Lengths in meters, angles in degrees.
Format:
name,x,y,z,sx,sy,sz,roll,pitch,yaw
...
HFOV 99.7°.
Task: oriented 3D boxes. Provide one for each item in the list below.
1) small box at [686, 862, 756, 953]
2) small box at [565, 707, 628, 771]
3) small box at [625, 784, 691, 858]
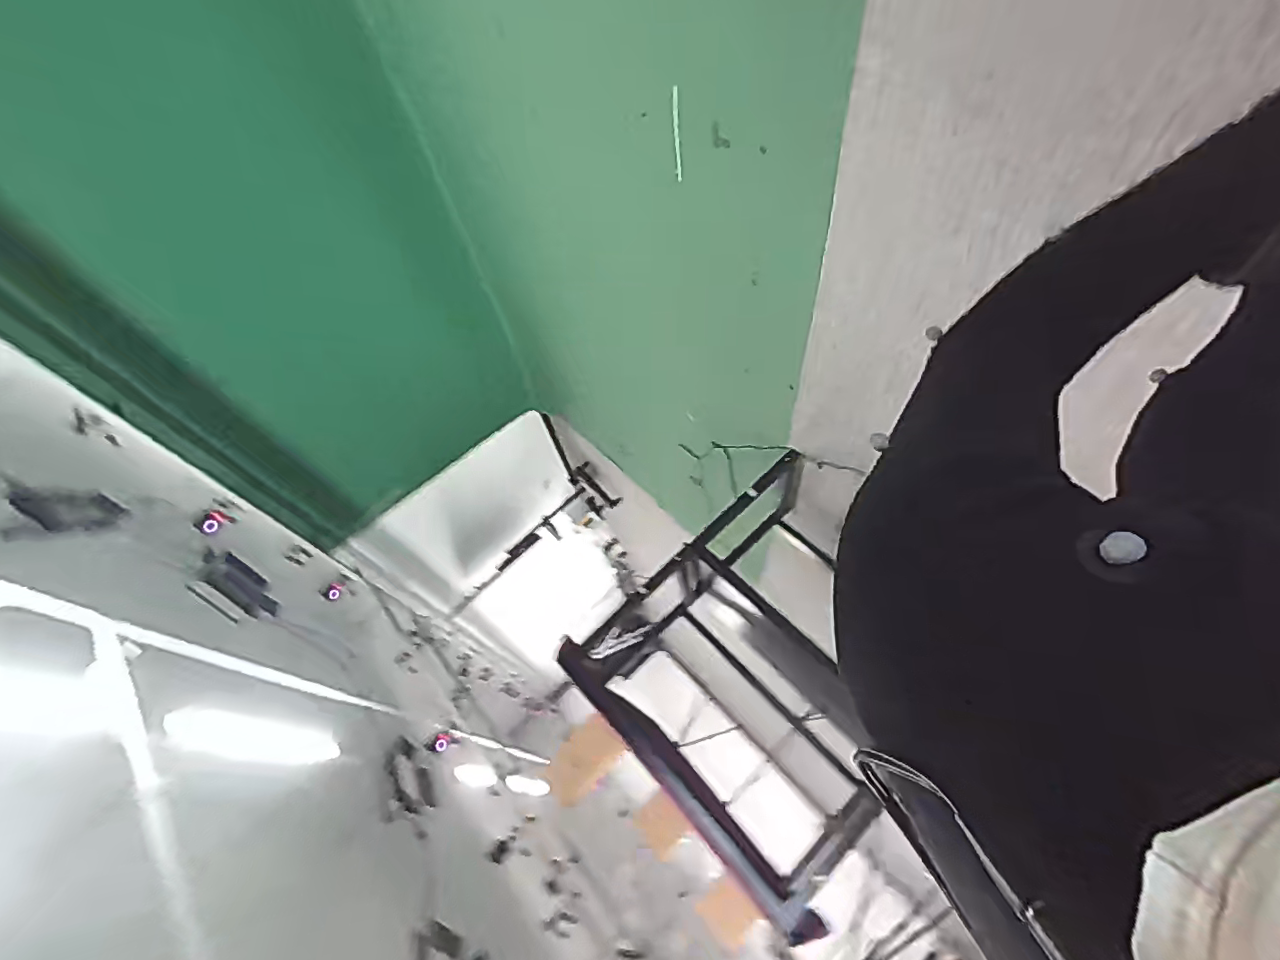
name,x,y,z,sx,sy,sz,roll,pitch,yaw
small box,0.283,1.455,1.850,0.179,0.176,0.168,42,162,32
small box,-0.173,1.050,2.204,0.179,0.176,0.168,42,164,30
small box,0.070,1.268,2.023,0.179,0.176,0.168,42,163,29
